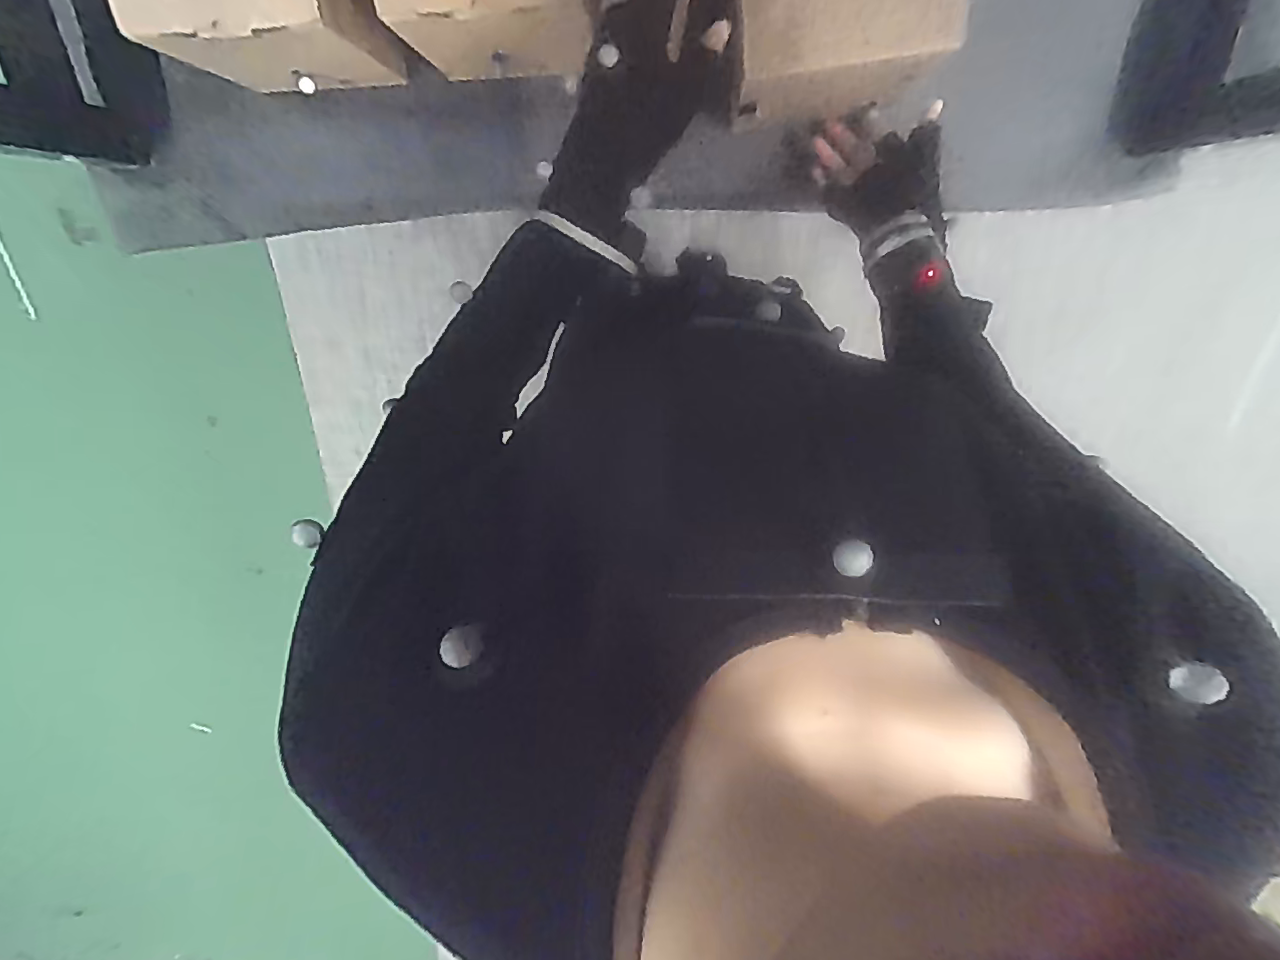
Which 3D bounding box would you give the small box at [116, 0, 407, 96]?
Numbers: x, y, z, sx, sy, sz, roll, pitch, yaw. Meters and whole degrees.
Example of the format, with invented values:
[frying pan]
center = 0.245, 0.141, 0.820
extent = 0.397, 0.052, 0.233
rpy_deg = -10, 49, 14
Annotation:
[small box]
center = -0.329, -0.465, 0.472
extent = 0.168, 0.176, 0.179
rpy_deg = -2, 113, 2
